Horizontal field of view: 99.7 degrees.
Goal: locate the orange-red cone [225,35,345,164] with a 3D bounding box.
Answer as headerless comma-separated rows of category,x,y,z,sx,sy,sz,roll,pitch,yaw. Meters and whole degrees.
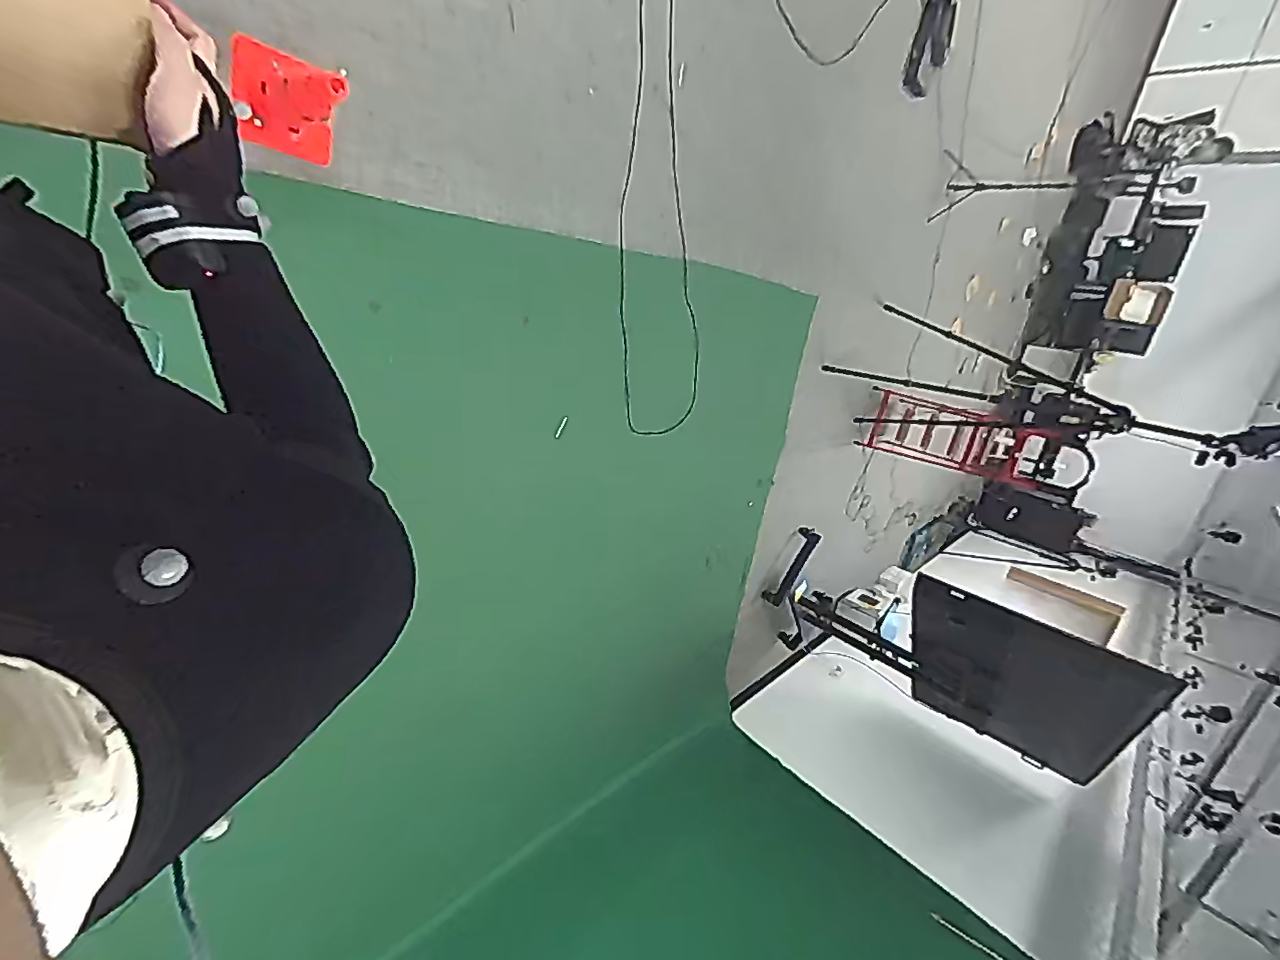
orange-red cone,-0.694,-0.795,1.122,0.199,0.360,0.198,-3,113,-49
